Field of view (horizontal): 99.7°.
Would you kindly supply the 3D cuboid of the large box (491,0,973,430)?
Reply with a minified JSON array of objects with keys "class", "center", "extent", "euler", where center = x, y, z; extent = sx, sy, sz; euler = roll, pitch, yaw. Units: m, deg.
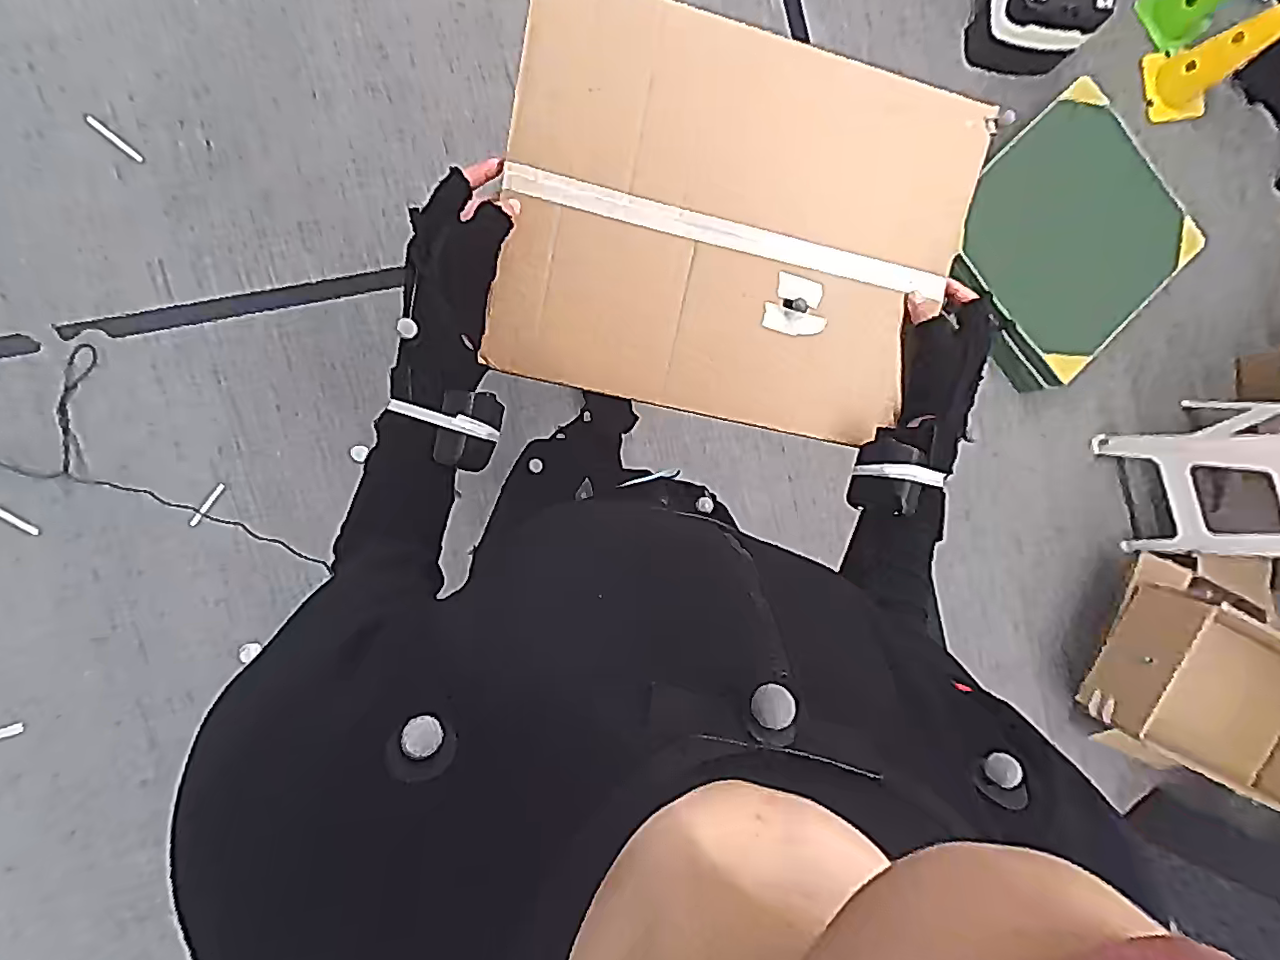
[{"class":"large box","center":[0.064,-0.262,0.635],"extent":[0.408,0.320,0.320],"euler":[11,103,-10]}]
